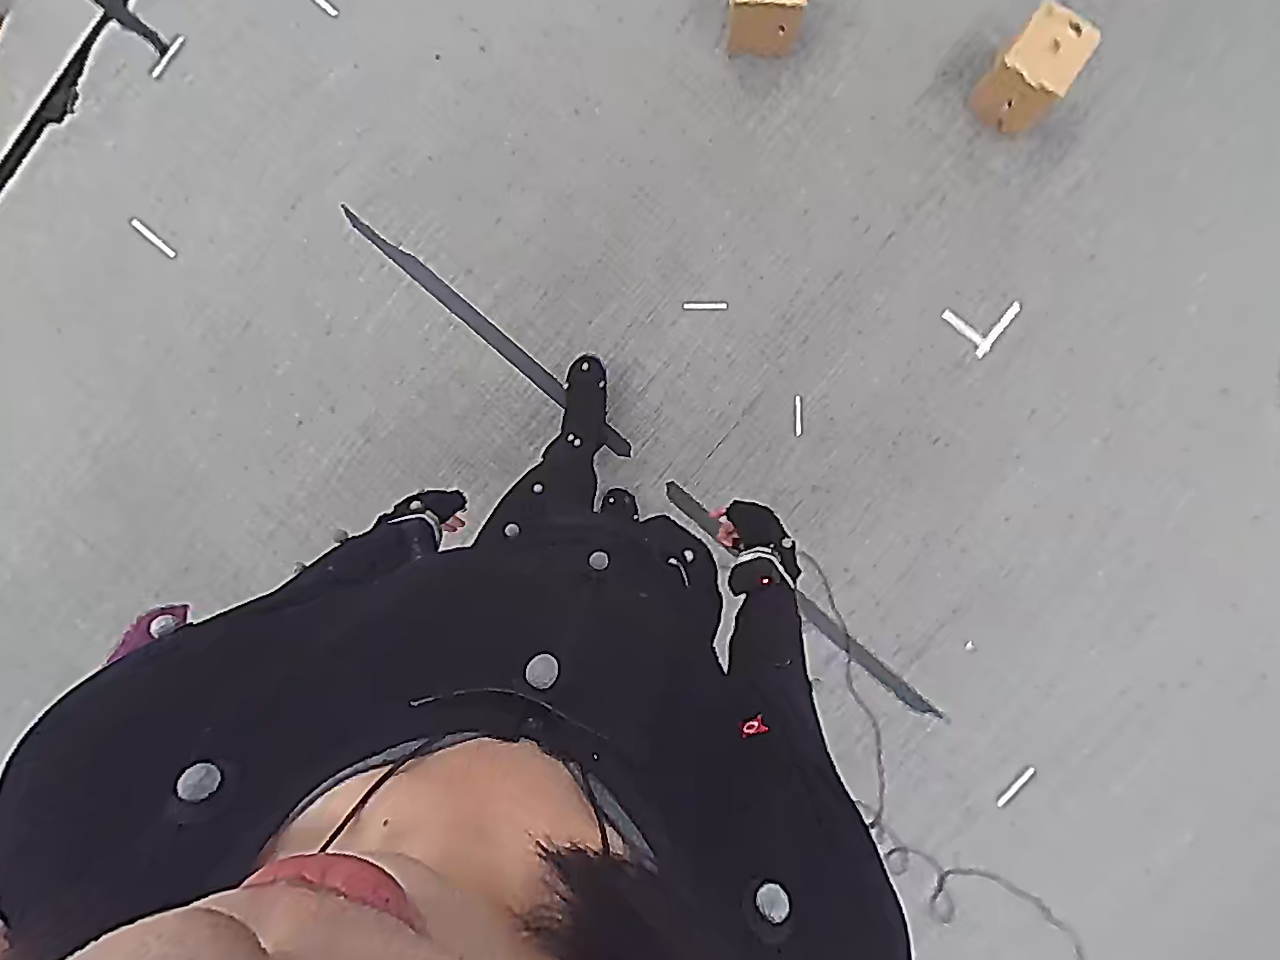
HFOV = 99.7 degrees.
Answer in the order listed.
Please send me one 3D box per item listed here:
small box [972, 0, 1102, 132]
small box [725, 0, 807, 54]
[{"bbox_3d":[0.977,-1.028,1.354,0.168,0.176,0.179,33,94,0],"label":"small box"},{"bbox_3d":[0.318,-1.221,1.366,0.179,0.176,0.168,3,92,2],"label":"small box"}]
